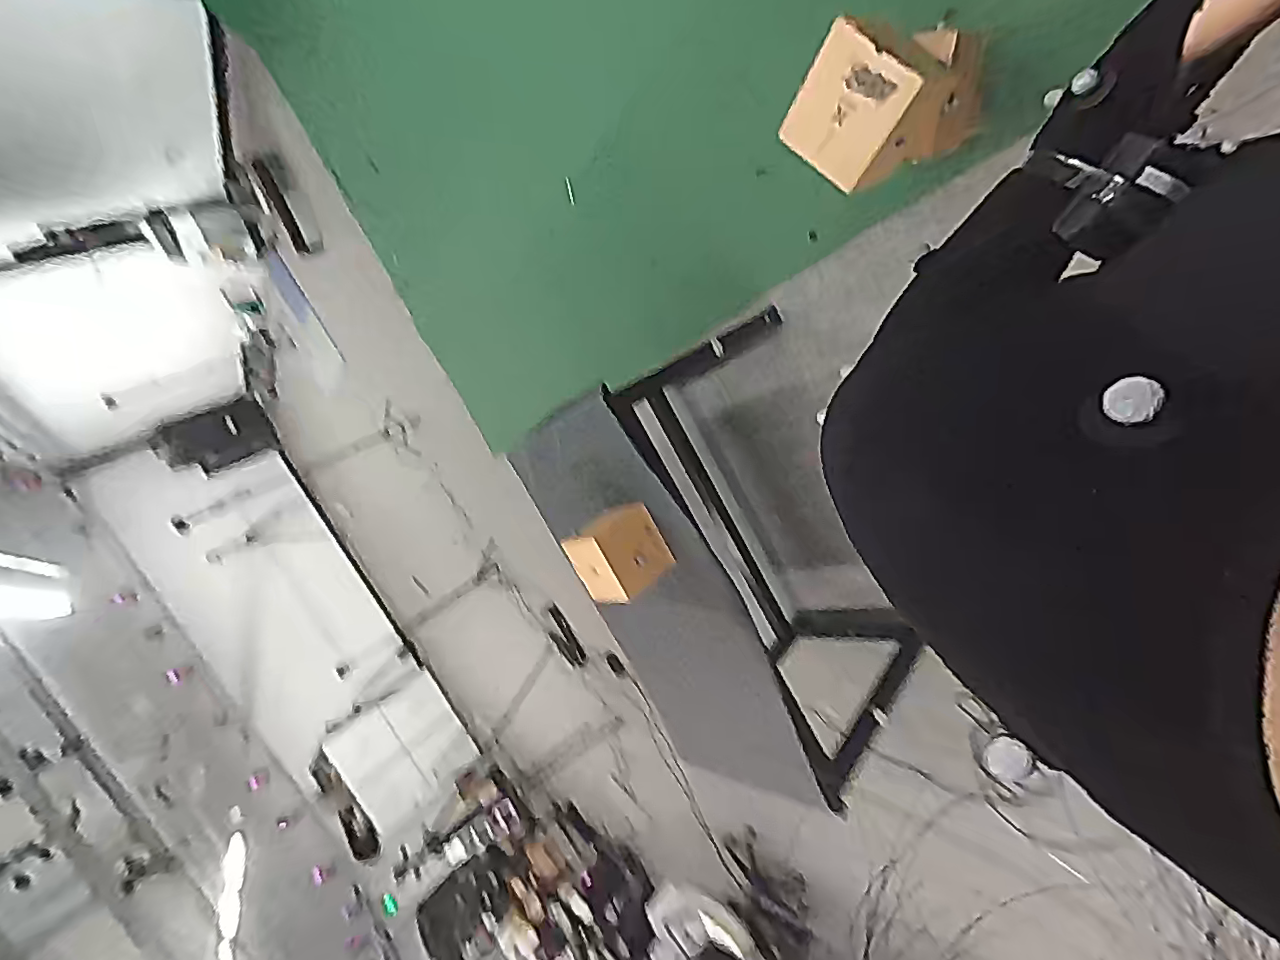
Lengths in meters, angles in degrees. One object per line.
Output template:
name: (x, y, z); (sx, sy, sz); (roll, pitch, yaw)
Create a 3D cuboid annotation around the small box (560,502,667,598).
small box: (-0.057, 0.169, 1.313); (0.179, 0.176, 0.168); (-18, 104, 55)

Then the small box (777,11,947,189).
small box: (0.365, -0.618, 0.881); (0.168, 0.176, 0.179); (46, 145, 10)

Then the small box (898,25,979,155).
small box: (0.479, -0.697, 0.970); (0.168, 0.176, 0.179); (25, 135, 32)

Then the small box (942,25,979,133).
small box: (0.565, -0.774, 1.088); (0.168, 0.176, 0.179); (4, 121, 46)
